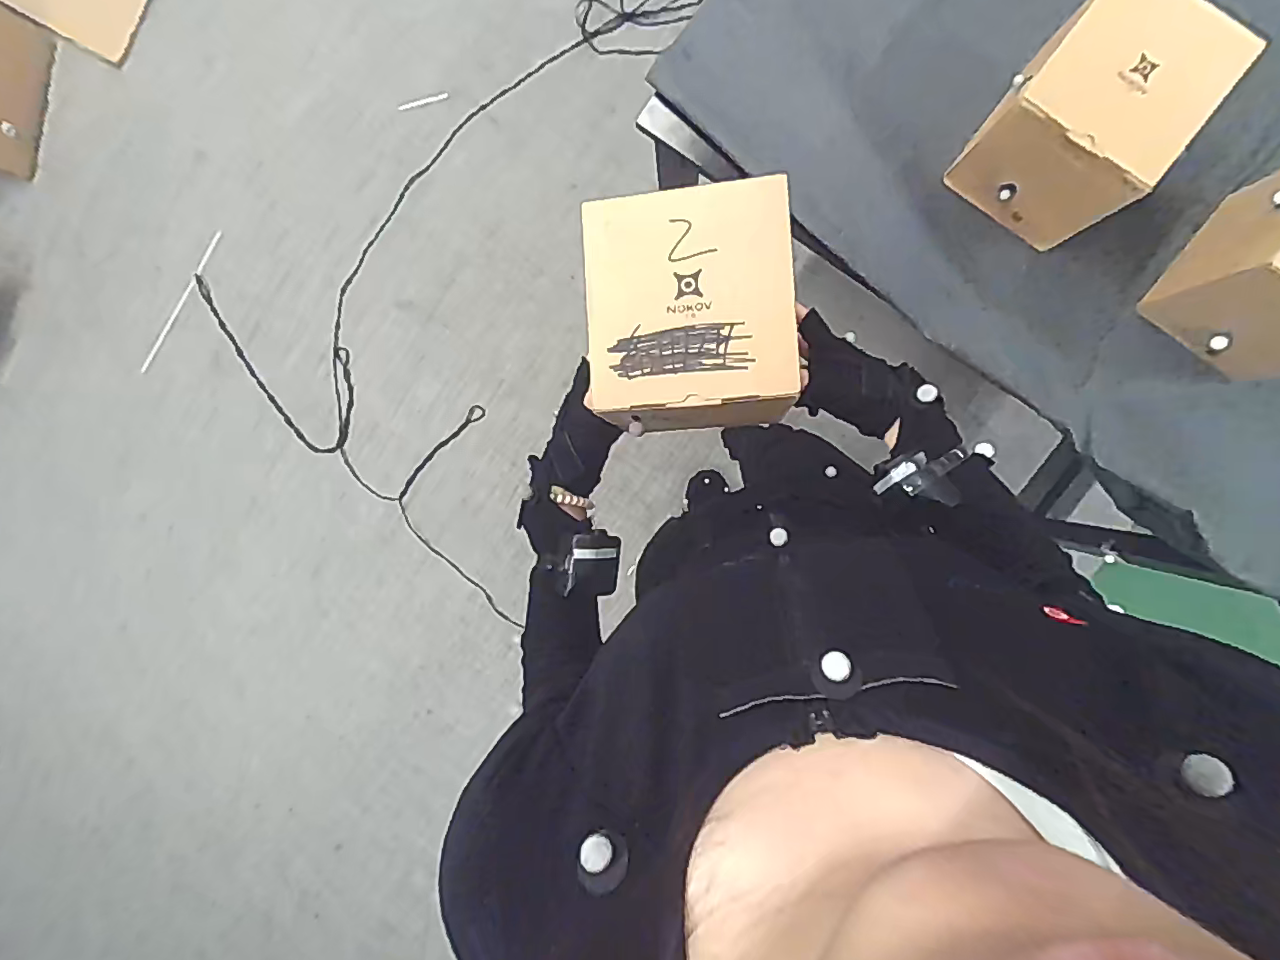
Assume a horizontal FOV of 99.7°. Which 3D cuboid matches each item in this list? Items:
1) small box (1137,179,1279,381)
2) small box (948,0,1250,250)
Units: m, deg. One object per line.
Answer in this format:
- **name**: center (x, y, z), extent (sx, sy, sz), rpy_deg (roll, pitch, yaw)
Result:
- **small box**: center (0.752, -0.238, 0.625), extent (0.168, 0.176, 0.179), rpy_deg (37, 94, 2)
- **small box**: center (0.510, -0.412, 0.635), extent (0.168, 0.176, 0.179), rpy_deg (36, 94, 1)
